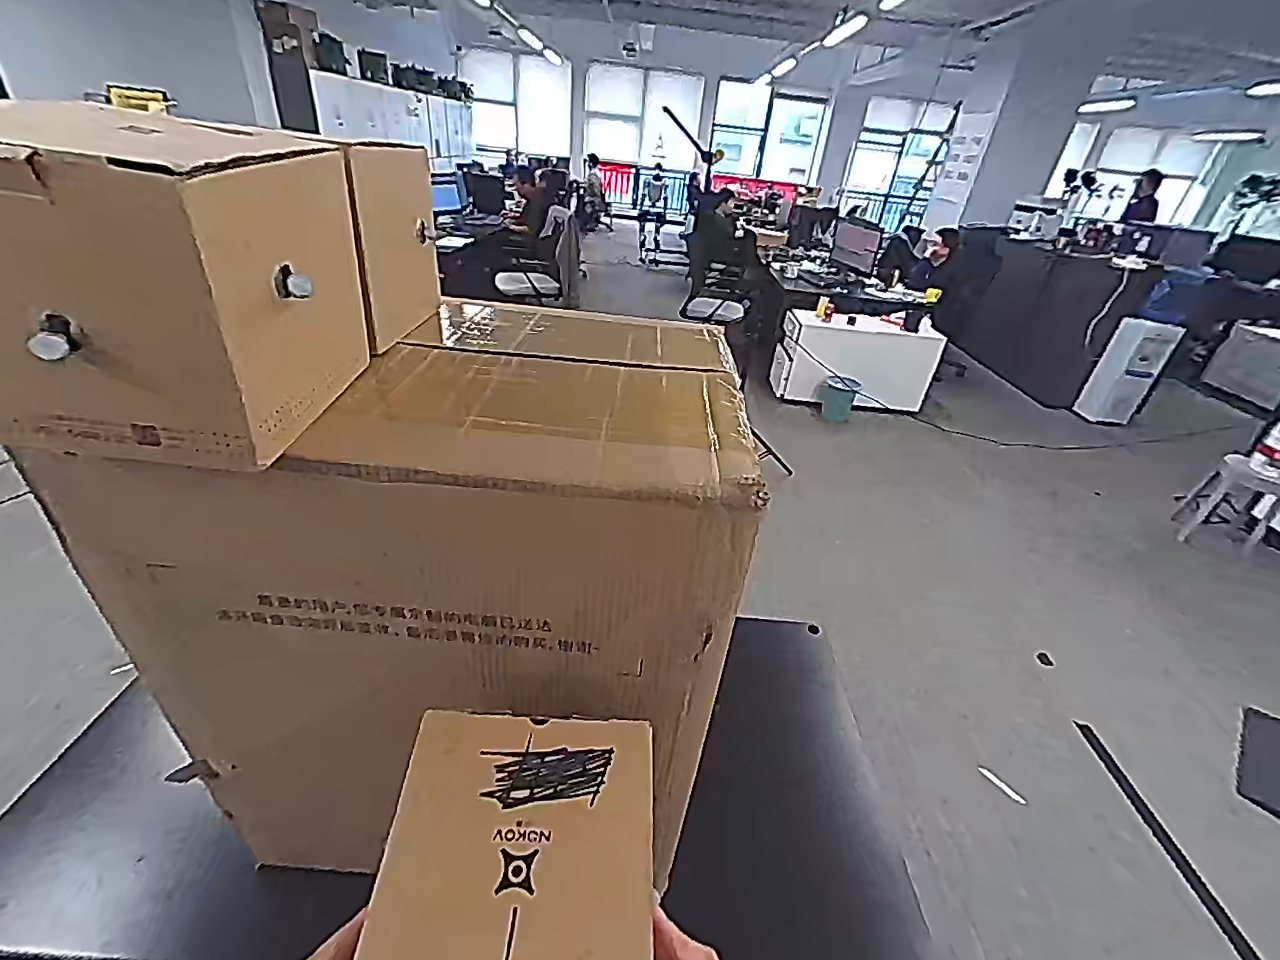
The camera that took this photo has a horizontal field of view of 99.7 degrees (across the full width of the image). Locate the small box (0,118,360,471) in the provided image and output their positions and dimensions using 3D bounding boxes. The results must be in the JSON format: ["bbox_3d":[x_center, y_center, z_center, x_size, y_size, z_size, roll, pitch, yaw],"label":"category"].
[{"bbox_3d":[-0.306,-0.122,0.353,0.168,0.176,0.179,6,34,-6],"label":"small box"}]

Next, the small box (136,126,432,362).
[{"bbox_3d":[-0.309,-0.225,0.517,0.168,0.176,0.179,4,31,-3],"label":"small box"}]
